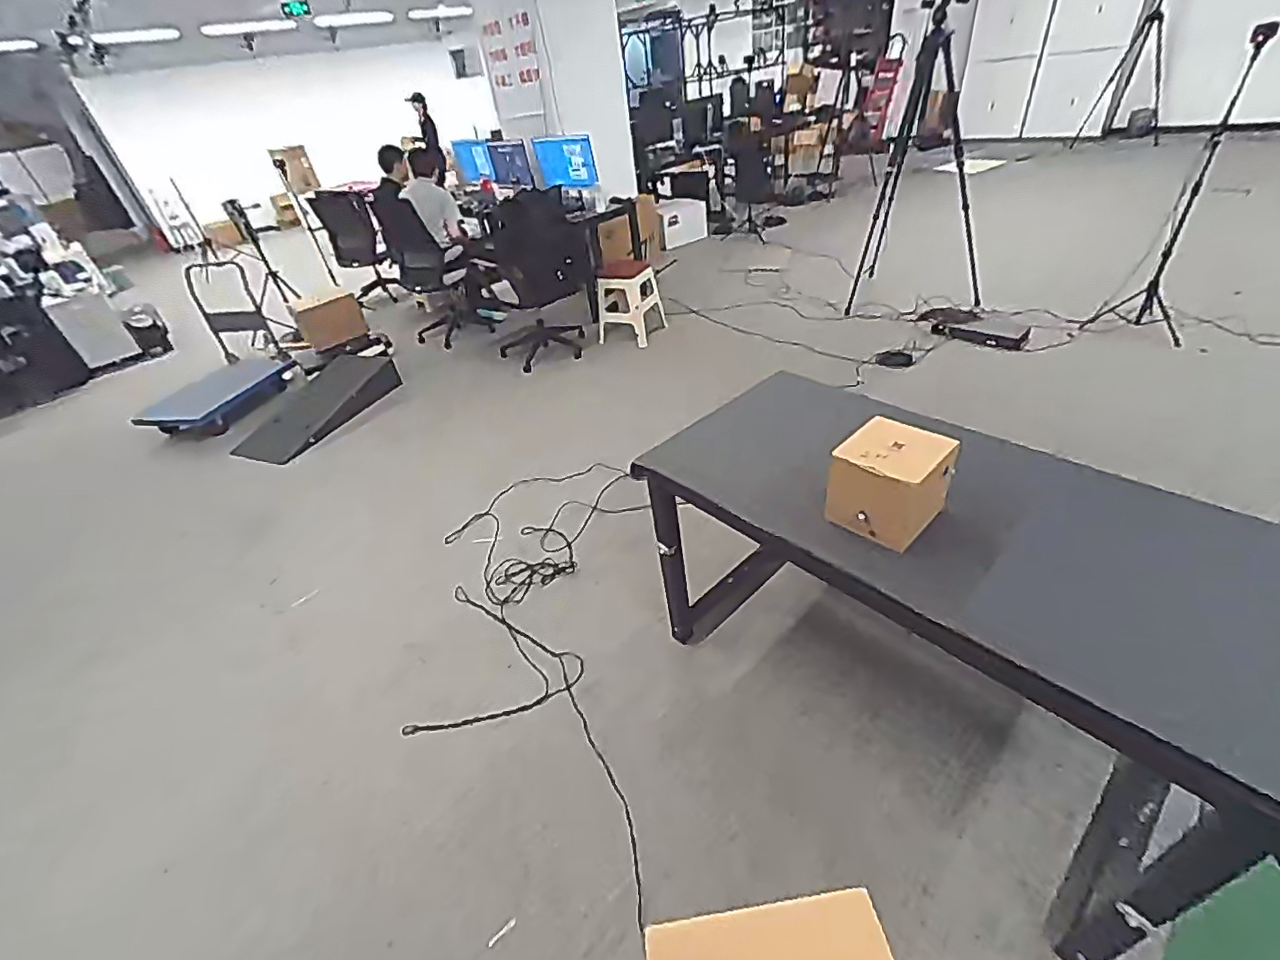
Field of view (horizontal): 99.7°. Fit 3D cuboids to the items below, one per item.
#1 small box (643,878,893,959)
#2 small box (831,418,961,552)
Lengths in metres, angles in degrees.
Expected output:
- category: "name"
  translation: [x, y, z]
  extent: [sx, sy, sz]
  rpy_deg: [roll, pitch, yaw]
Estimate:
- category: "small box"
  translation: [0.095, 0.413, 0.364]
  extent: [0.168, 0.176, 0.179]
  rpy_deg: [-8, 35, -3]
- category: "small box"
  translation: [0.494, 0.007, 1.065]
  extent: [0.179, 0.176, 0.168]
  rpy_deg: [-33, 42, -29]
